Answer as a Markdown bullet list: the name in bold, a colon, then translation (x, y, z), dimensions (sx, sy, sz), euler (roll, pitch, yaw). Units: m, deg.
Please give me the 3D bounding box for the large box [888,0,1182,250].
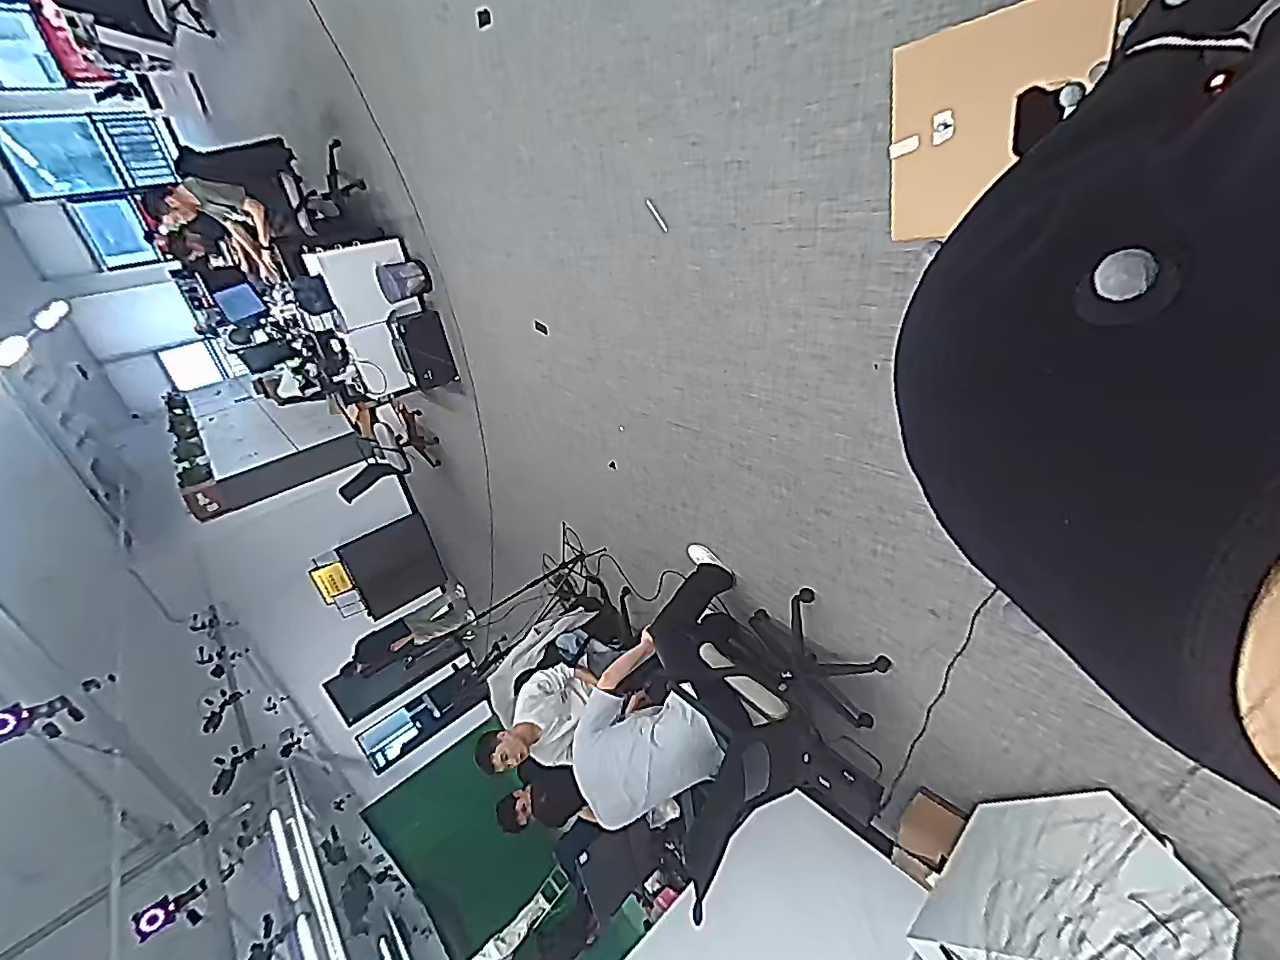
- **large box**: translation (0.702, -0.637, 0.990), dimensions (0.320, 0.408, 0.320), euler (21, 132, 47)
